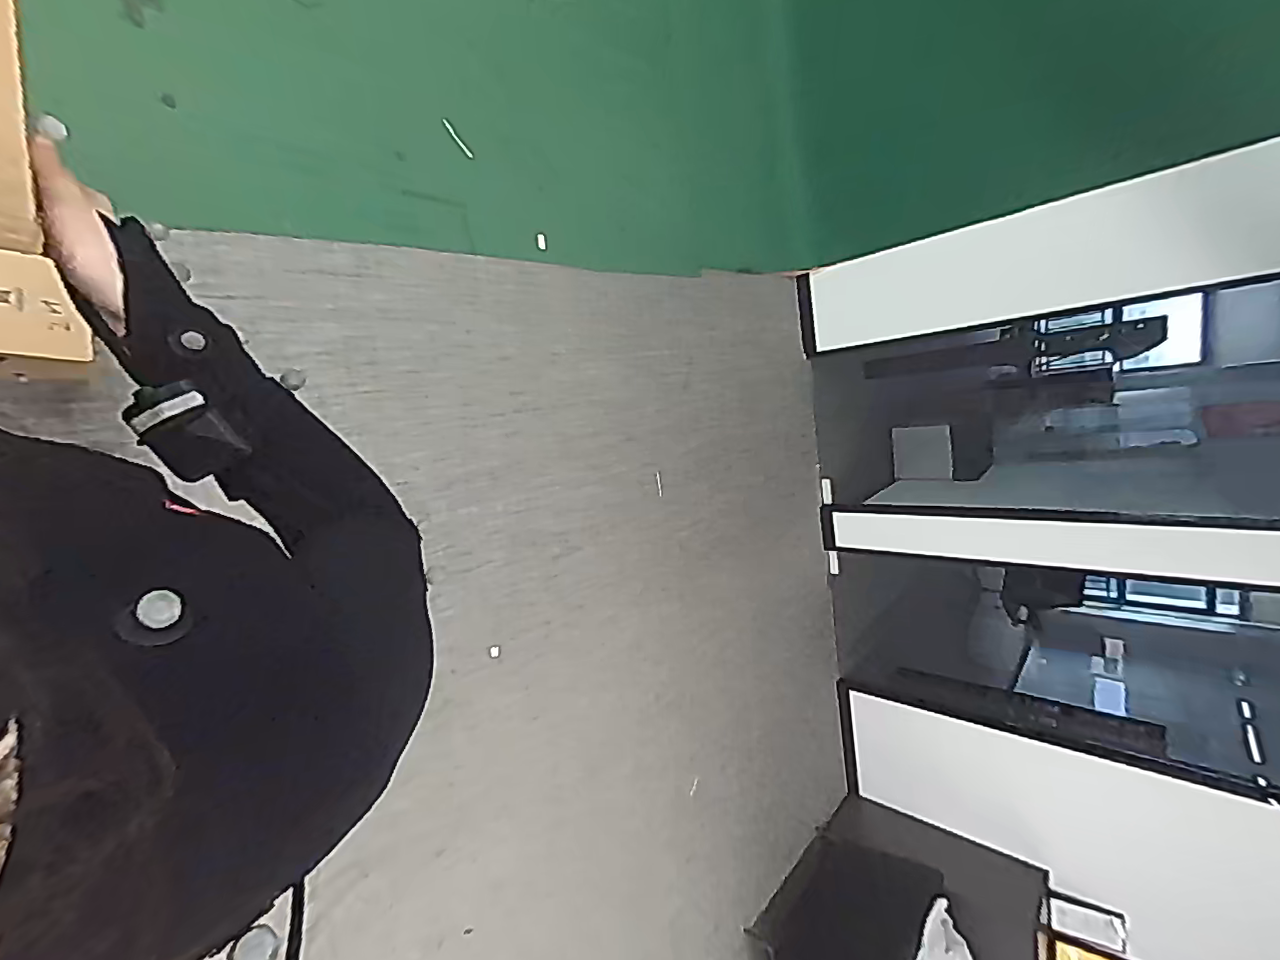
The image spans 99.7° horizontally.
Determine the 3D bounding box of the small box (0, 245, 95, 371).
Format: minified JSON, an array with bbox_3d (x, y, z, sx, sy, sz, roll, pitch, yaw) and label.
[{"bbox_3d":[-0.975,-0.269,0.841,0.179,0.176,0.168,-1,92,-46],"label":"small box"}]
